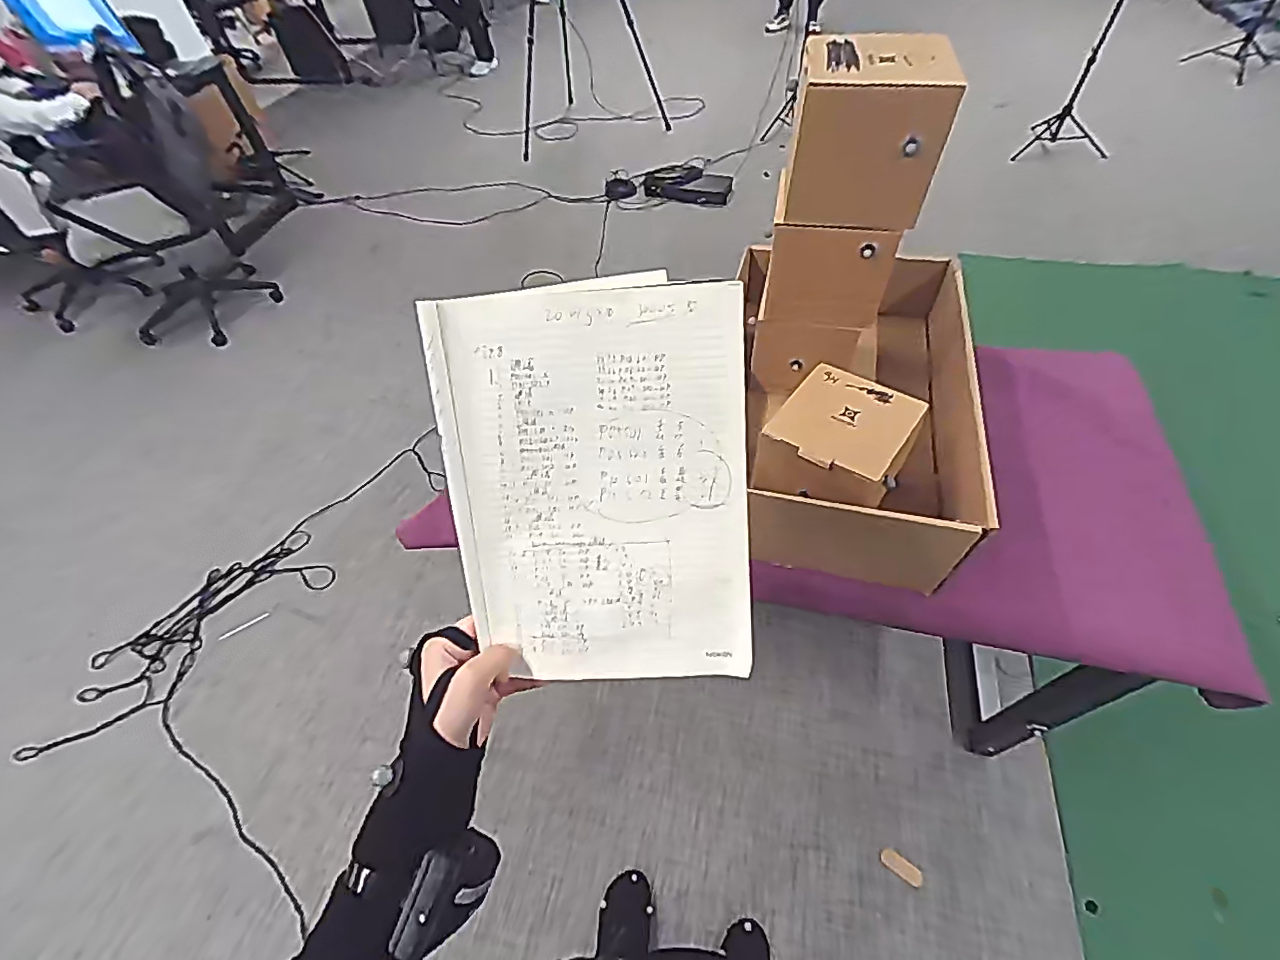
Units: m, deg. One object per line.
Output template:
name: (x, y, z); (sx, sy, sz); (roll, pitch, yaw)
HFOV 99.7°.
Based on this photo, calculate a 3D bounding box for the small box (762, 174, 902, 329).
small box: (0.293, -0.357, 0.853); (0.179, 0.176, 0.168); (8, 55, 11)

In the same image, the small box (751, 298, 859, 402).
small box: (0.300, -0.264, 0.985); (0.168, 0.176, 0.179); (10, 56, 12)
